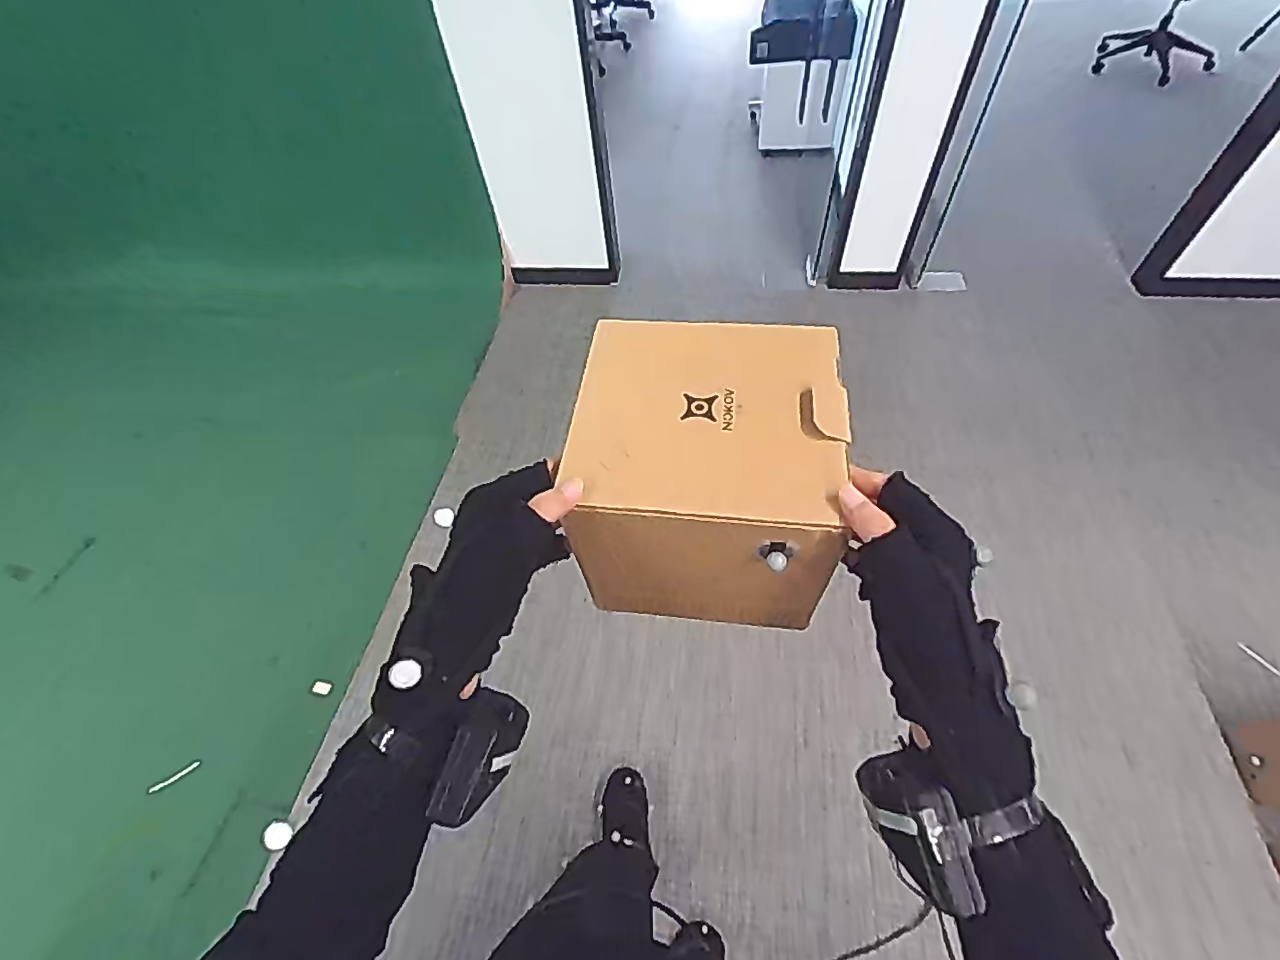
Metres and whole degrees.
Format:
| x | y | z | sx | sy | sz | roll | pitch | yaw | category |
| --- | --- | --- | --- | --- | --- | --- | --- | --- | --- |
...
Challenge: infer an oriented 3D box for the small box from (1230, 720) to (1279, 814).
| x | y | z | sx | sy | sz | roll | pitch | yaw | category |
| --- | --- | --- | --- | --- | --- | --- | --- | --- | --- |
| 1.416 | 0.601 | 1.119 | 0.179 | 0.176 | 0.168 | 4 | 53 | 9 | small box |

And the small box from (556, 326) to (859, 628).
| x | y | z | sx | sy | sz | roll | pitch | yaw | category |
| --- | --- | --- | --- | --- | --- | --- | --- | --- | --- |
| 0.051 | 0.003 | 0.415 | 0.179 | 0.176 | 0.168 | 4 | 56 | 7 | small box |
